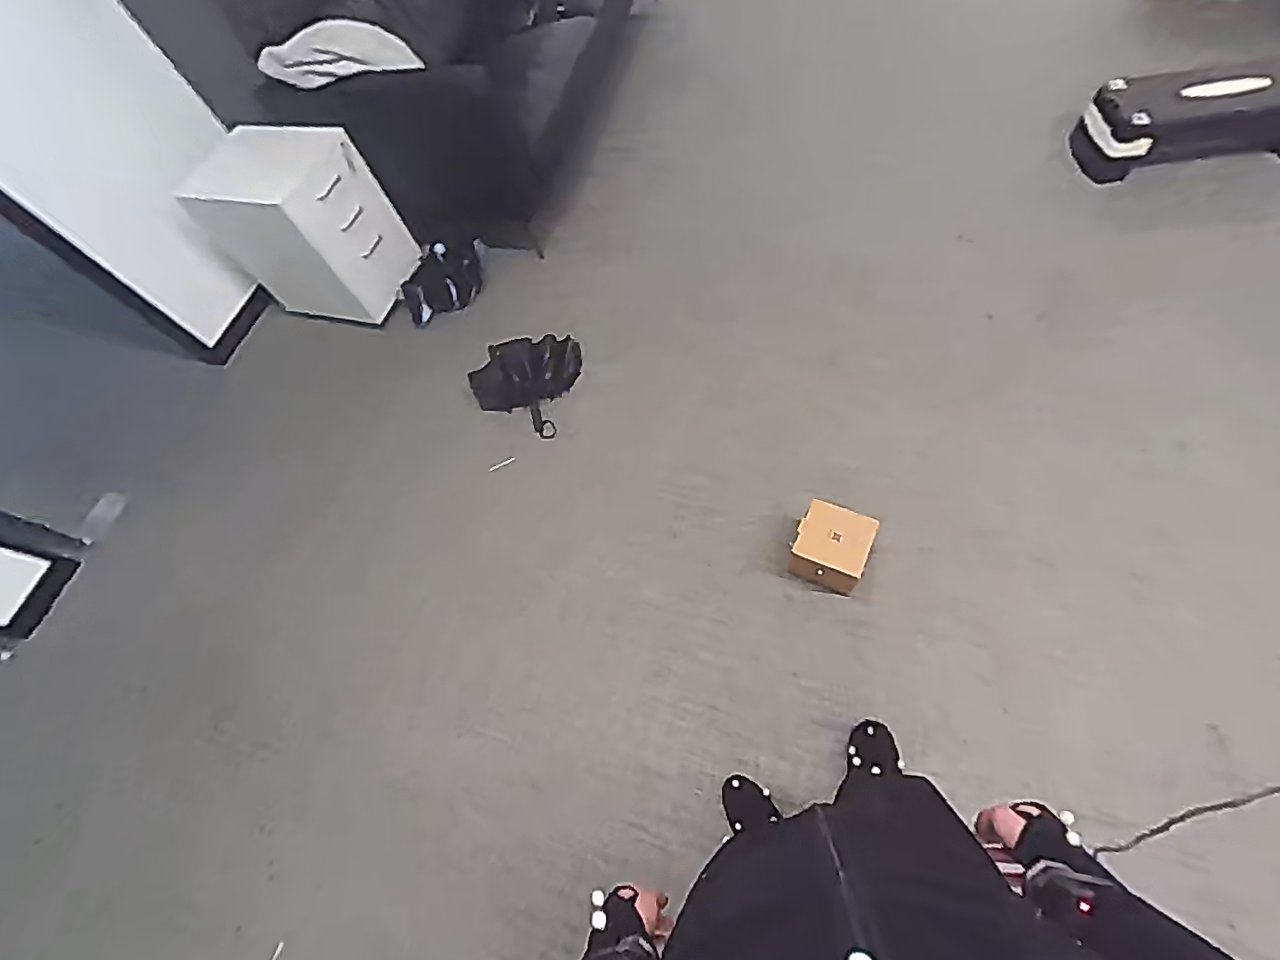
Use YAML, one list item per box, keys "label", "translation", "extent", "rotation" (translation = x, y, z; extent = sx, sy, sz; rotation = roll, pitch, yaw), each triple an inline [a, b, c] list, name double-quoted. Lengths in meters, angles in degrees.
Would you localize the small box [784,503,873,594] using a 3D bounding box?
- label: "small box"
  translation: [0.500, 0.190, 1.458]
  extent: [0.179, 0.176, 0.168]
  rotation: [21, 70, 19]
